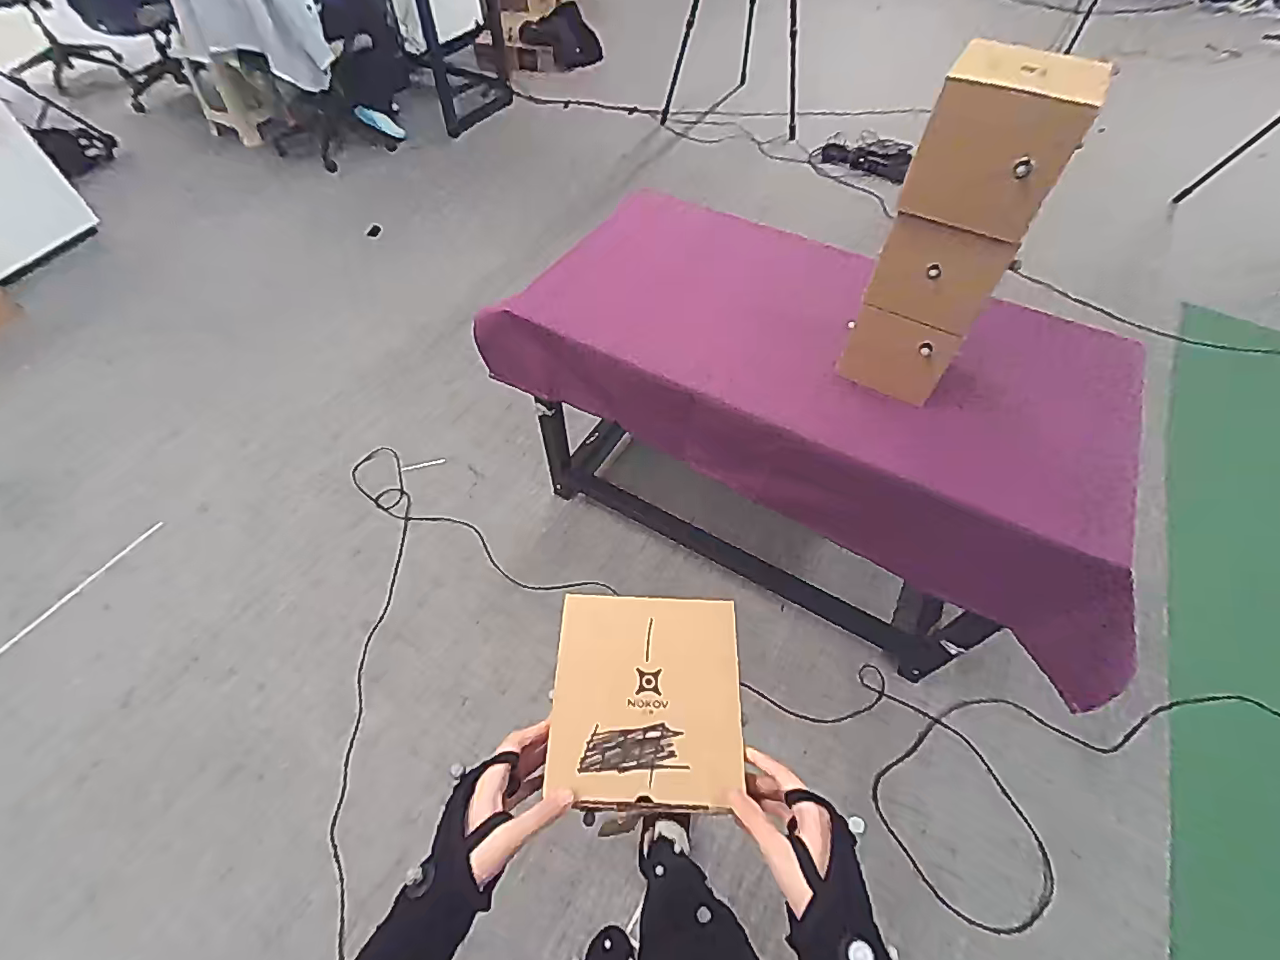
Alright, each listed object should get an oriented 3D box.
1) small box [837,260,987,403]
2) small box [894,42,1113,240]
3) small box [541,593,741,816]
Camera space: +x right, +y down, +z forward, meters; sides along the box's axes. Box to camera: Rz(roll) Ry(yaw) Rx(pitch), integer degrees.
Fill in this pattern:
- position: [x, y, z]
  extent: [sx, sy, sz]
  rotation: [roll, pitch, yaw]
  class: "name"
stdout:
- position: [0.498, -0.269, 1.006]
  extent: [0.179, 0.176, 0.168]
  rotation: [27, 58, 17]
  class: "small box"
- position: [0.483, -0.456, 0.736]
  extent: [0.179, 0.176, 0.168]
  rotation: [27, 58, 18]
  class: "small box"
- position: [0.002, 0.231, 0.545]
  extent: [0.168, 0.176, 0.179]
  rotation: [4, 55, -1]
  class: "small box"
